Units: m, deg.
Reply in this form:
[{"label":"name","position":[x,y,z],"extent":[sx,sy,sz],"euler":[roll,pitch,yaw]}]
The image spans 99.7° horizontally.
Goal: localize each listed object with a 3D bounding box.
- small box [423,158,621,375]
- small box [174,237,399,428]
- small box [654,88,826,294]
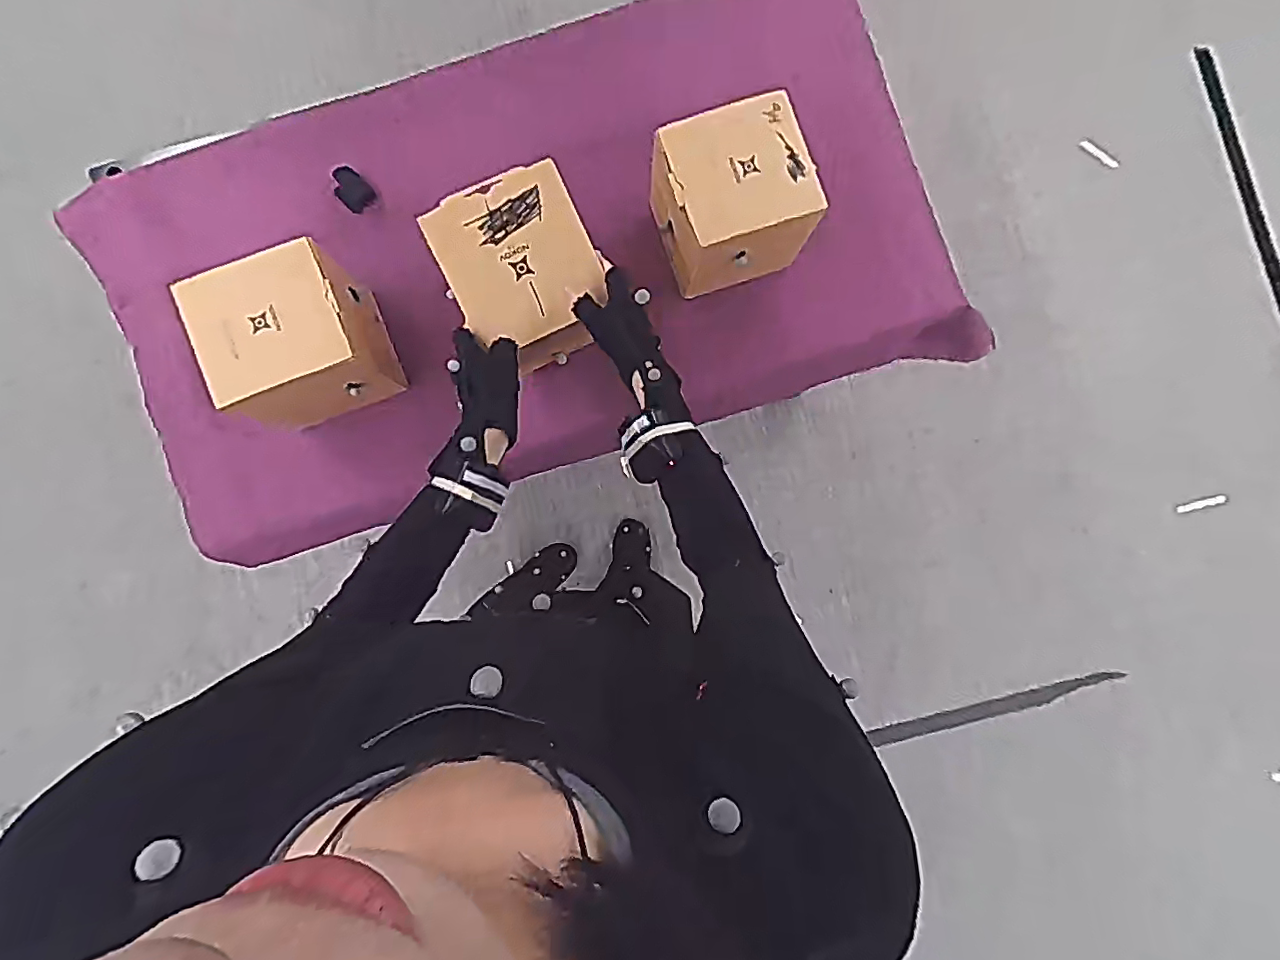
[{"label":"small box","position":[-0.136,-0.249,0.676],"extent":[0.168,0.176,0.179],"euler":[-26,96,-2]},{"label":"small box","position":[-0.450,-0.184,0.725],"extent":[0.179,0.176,0.168],"euler":[-23,86,-3]},{"label":"small box","position":[0.126,-0.385,0.754],"extent":[0.179,0.176,0.168],"euler":[-19,87,-2]}]
